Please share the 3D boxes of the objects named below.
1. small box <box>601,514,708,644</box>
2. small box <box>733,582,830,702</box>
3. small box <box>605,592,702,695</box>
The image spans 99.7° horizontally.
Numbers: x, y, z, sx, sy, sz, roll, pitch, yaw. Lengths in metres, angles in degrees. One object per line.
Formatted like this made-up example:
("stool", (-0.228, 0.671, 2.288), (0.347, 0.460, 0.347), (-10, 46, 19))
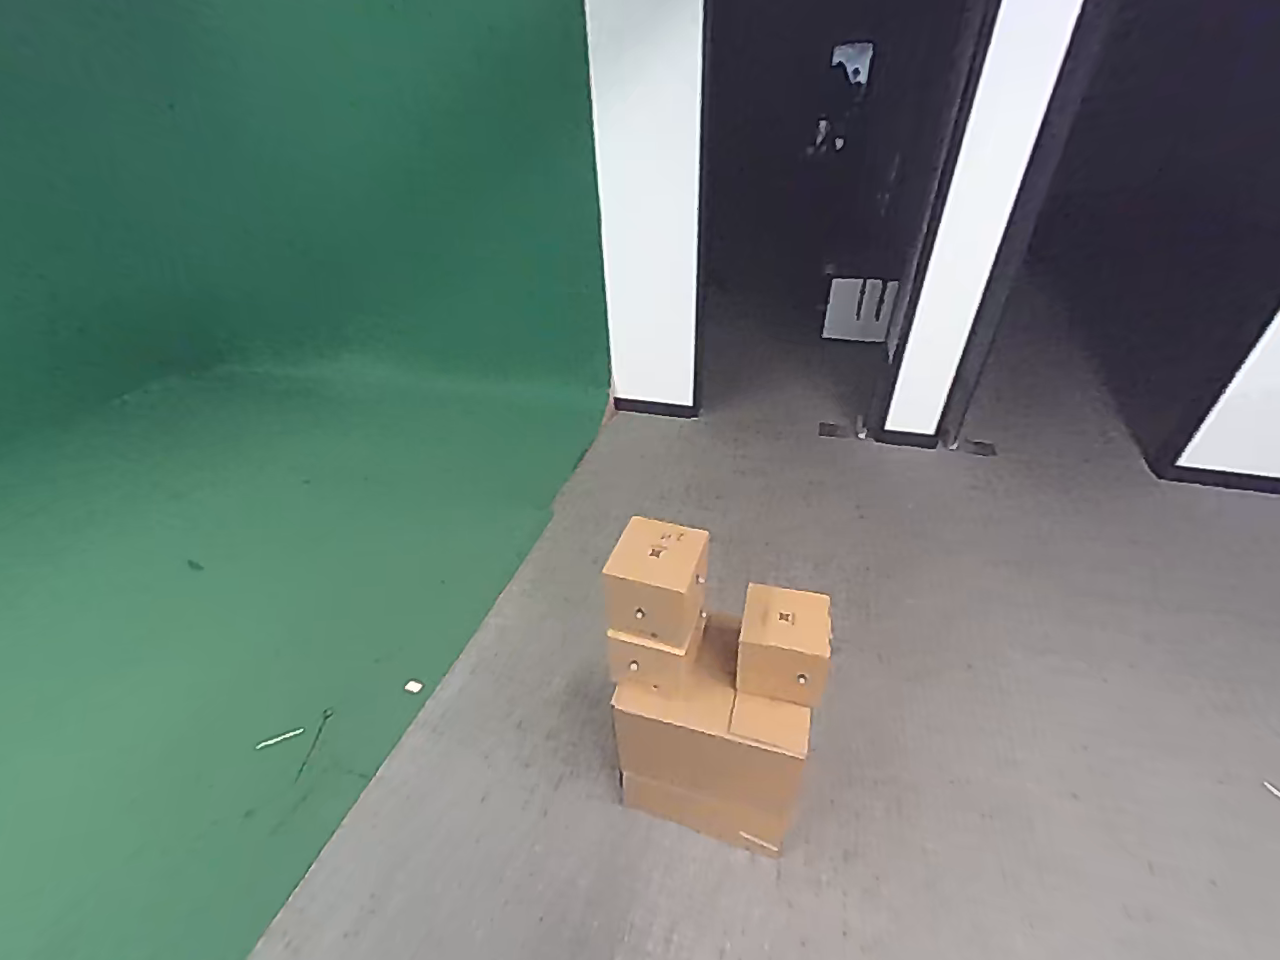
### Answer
("small box", (0.035, 0.201, 1.099), (0.168, 0.176, 0.179), (13, 39, 16))
("small box", (0.303, 0.350, 1.164), (0.179, 0.176, 0.168), (8, 37, 15))
("small box", (0.034, 0.340, 1.188), (0.168, 0.176, 0.179), (11, 39, 15))
